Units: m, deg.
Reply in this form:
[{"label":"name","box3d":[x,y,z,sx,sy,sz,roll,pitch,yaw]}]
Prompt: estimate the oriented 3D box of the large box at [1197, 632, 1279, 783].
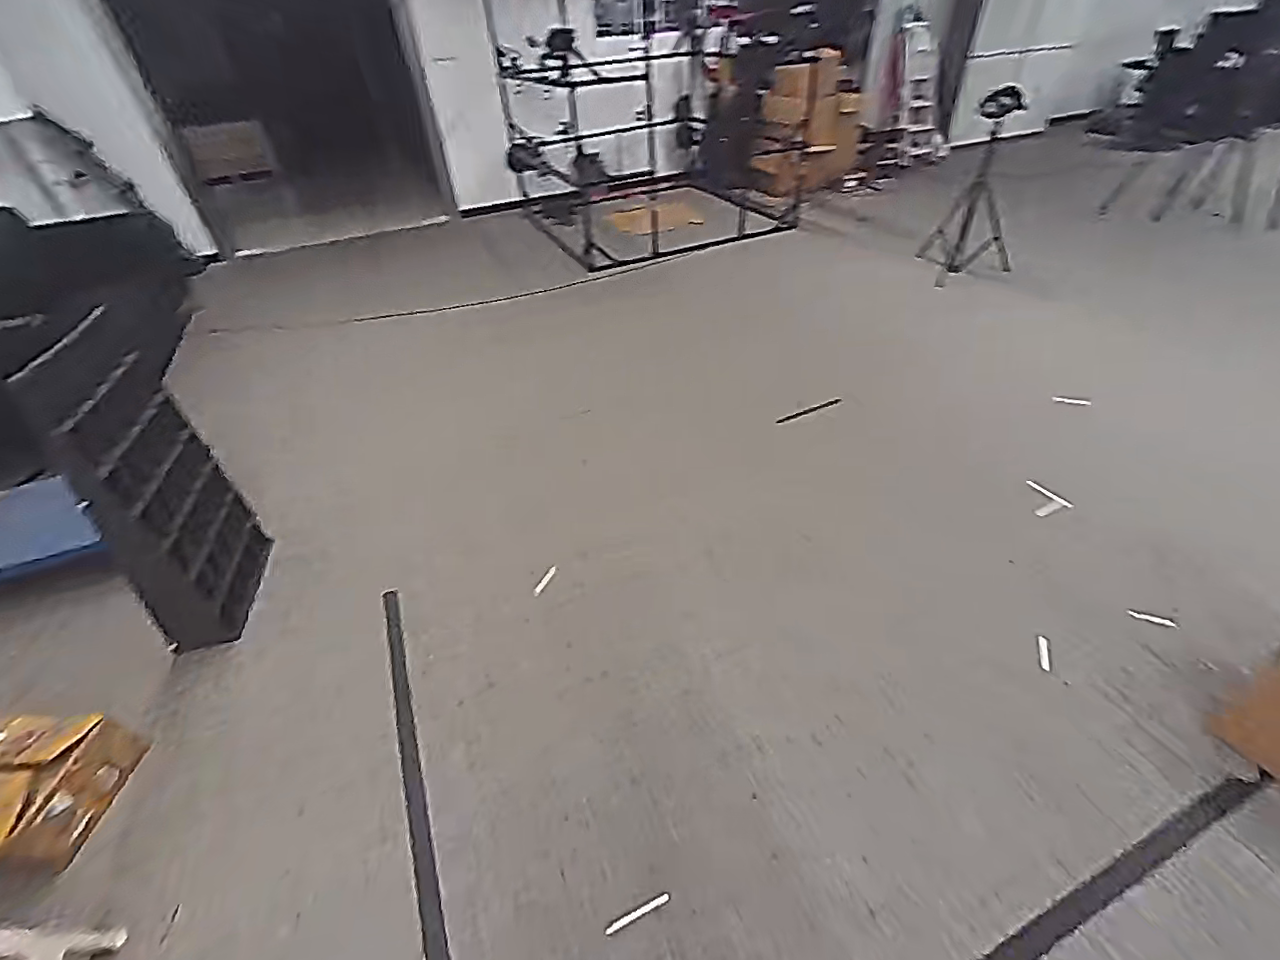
[{"label":"large box","box3d":[1.695,0.585,1.269,0.320,0.320,0.408,-24,44,-22]}]
